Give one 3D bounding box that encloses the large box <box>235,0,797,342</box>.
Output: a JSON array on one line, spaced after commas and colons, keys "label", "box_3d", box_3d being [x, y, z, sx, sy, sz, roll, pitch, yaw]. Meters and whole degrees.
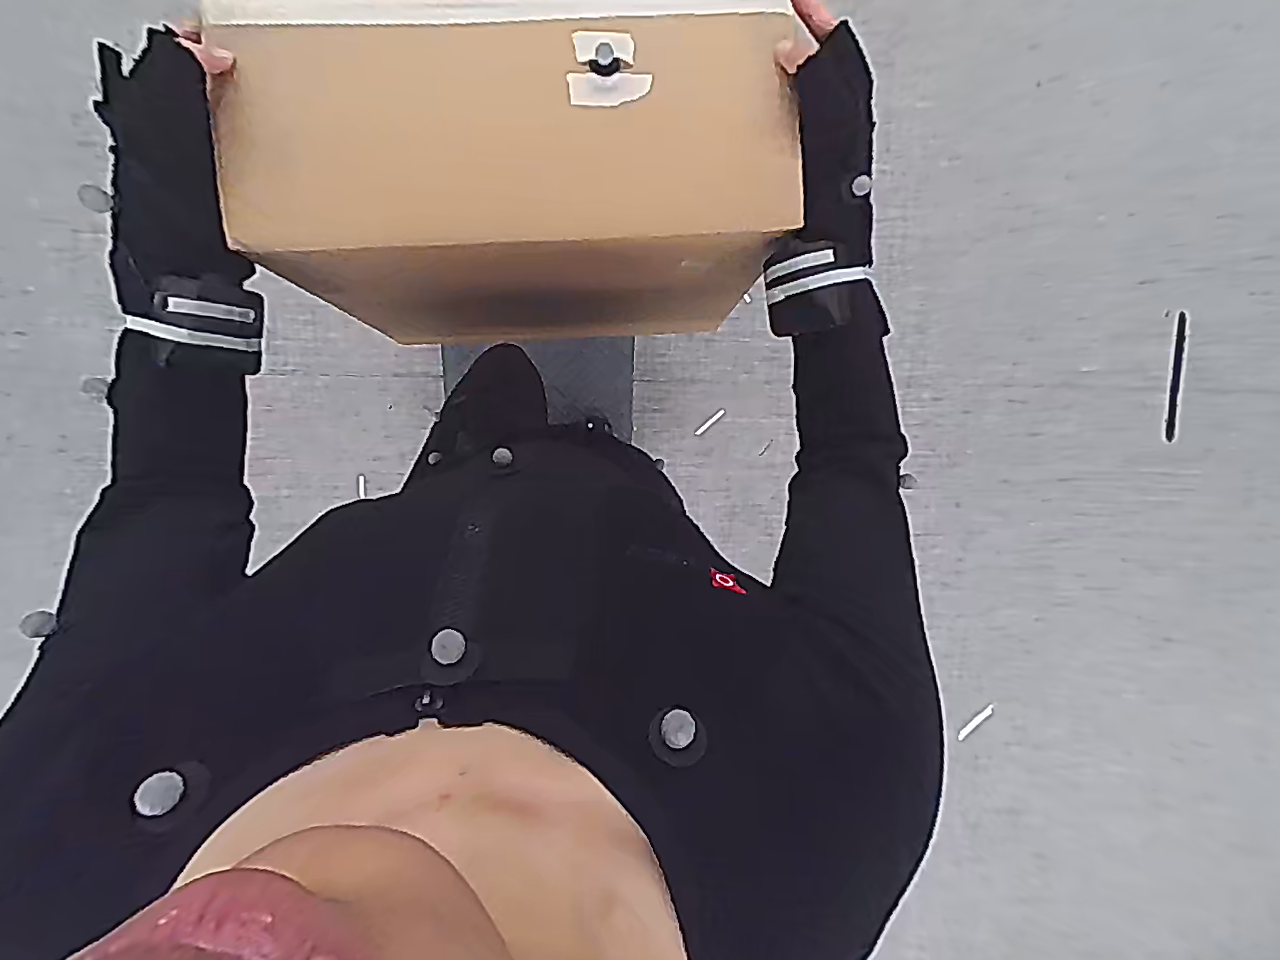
[{"label": "large box", "box_3d": [-0.100, -0.337, 0.542, 0.408, 0.320, 0.320, -4, 92, -4]}]
